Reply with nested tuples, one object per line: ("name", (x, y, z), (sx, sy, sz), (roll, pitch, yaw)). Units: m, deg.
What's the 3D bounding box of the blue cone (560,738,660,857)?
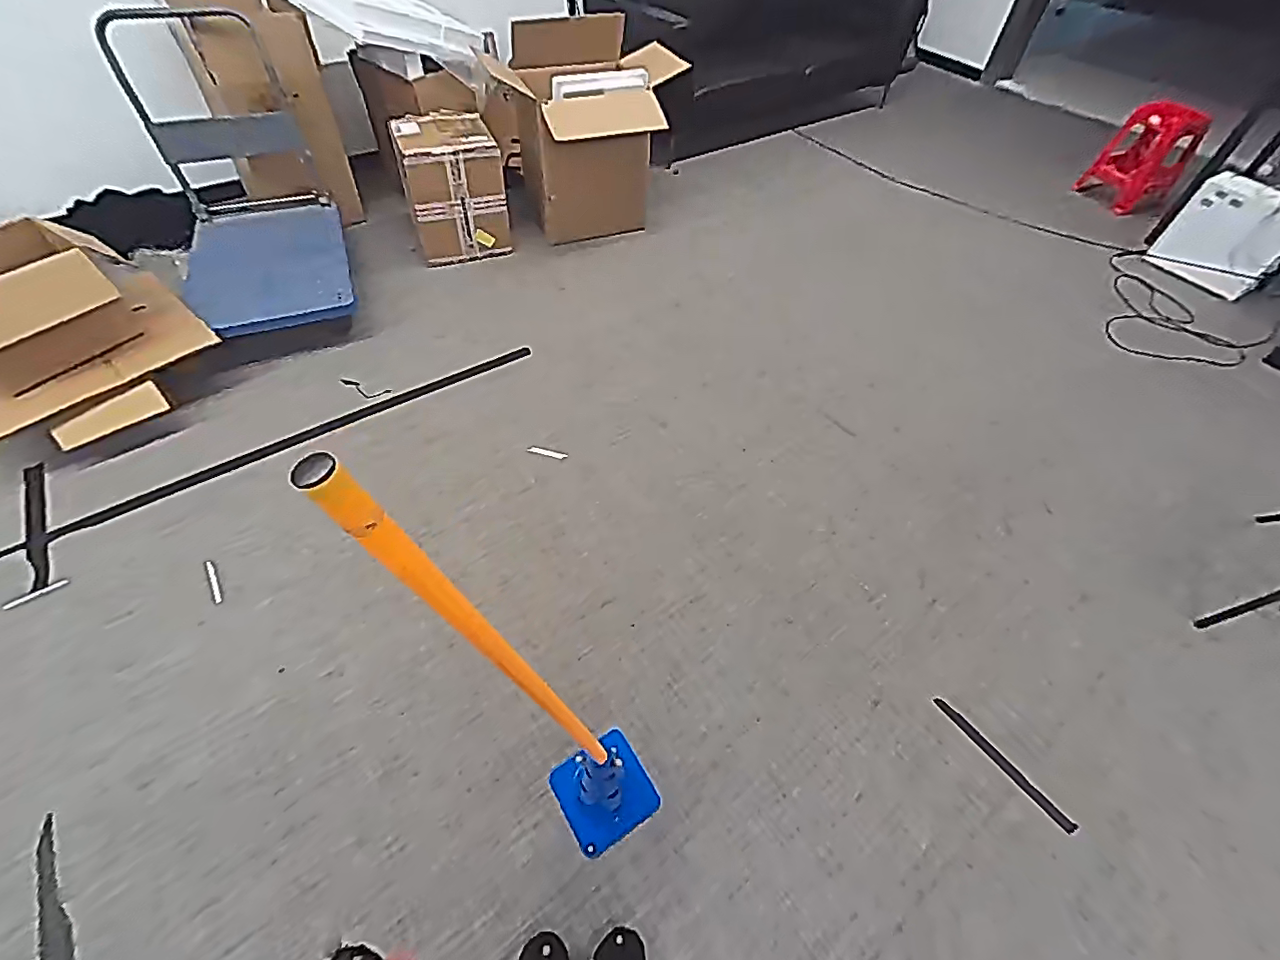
("blue cone", (-0.065, 0.612, 1.102), (0.193, 0.380, 0.192), (-25, 58, -21))
